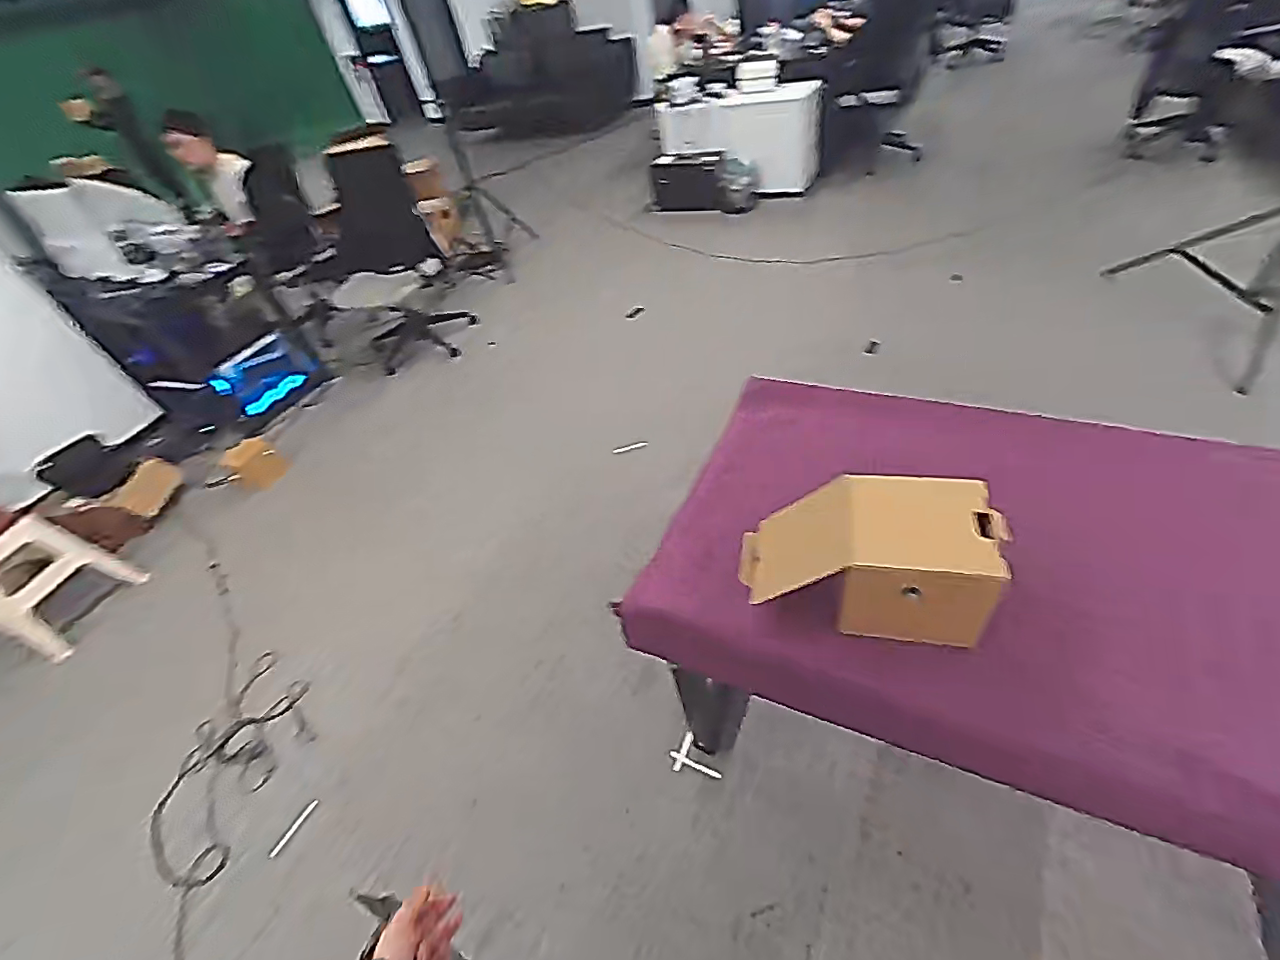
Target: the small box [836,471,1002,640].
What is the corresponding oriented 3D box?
[{"bbox_3d":[0.369,0.105,0.754,0.179,0.176,0.168,3,46,16],"label":"small box"}]
